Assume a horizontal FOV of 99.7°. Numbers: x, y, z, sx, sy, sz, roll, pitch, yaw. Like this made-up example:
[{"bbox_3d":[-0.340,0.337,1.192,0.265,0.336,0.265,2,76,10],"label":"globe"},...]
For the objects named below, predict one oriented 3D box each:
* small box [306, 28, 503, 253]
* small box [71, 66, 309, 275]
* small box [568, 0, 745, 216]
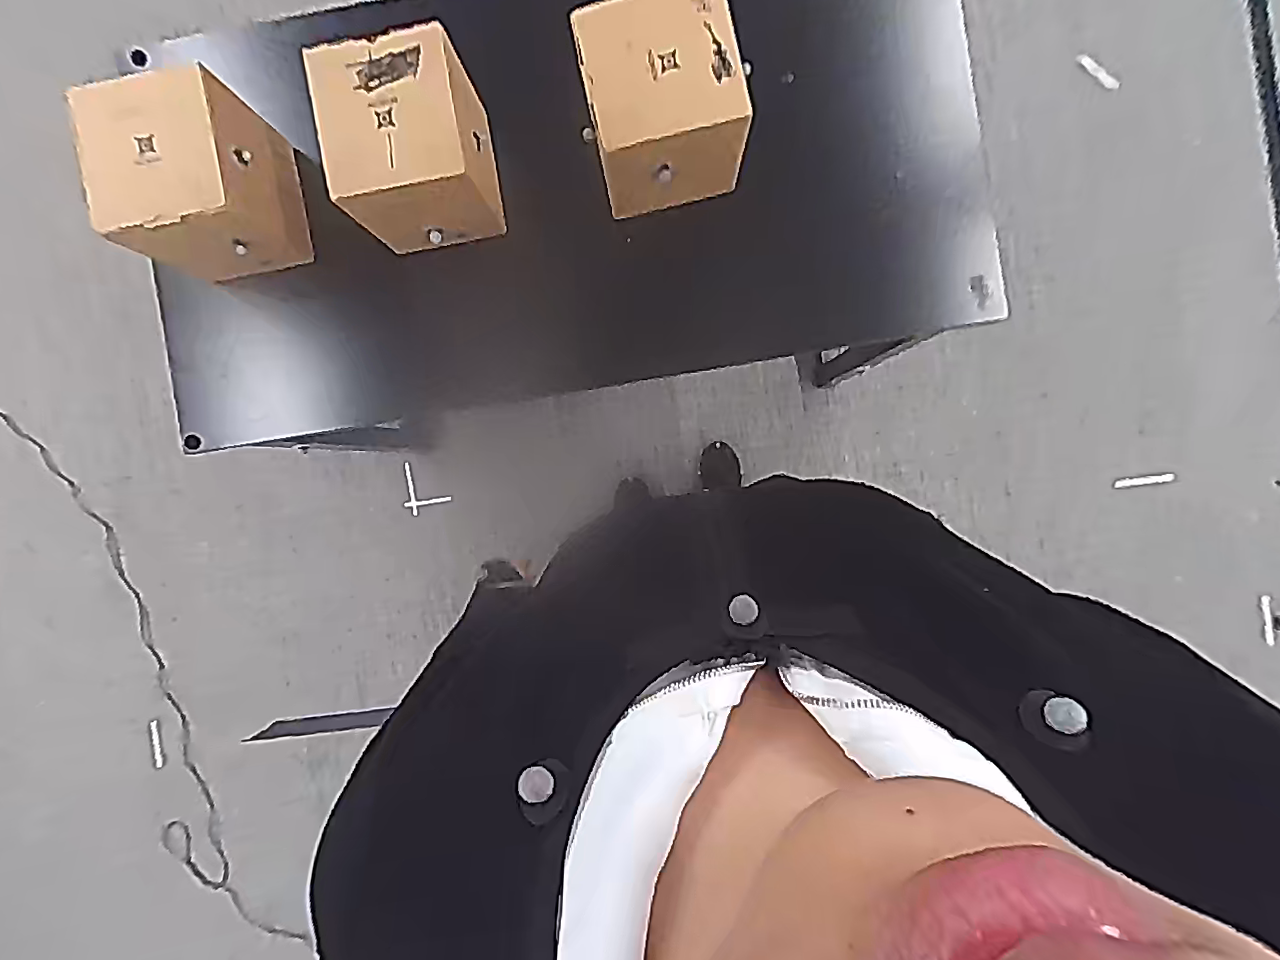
[{"bbox_3d":[-0.292,-0.425,0.705,0.168,0.176,0.179,-10,91,3],"label":"small box"},{"bbox_3d":[-0.576,-0.389,0.718,0.168,0.176,0.179,-11,90,1],"label":"small box"},{"bbox_3d":[0.023,-0.468,0.692,0.179,0.176,0.168,-13,91,3],"label":"small box"}]
